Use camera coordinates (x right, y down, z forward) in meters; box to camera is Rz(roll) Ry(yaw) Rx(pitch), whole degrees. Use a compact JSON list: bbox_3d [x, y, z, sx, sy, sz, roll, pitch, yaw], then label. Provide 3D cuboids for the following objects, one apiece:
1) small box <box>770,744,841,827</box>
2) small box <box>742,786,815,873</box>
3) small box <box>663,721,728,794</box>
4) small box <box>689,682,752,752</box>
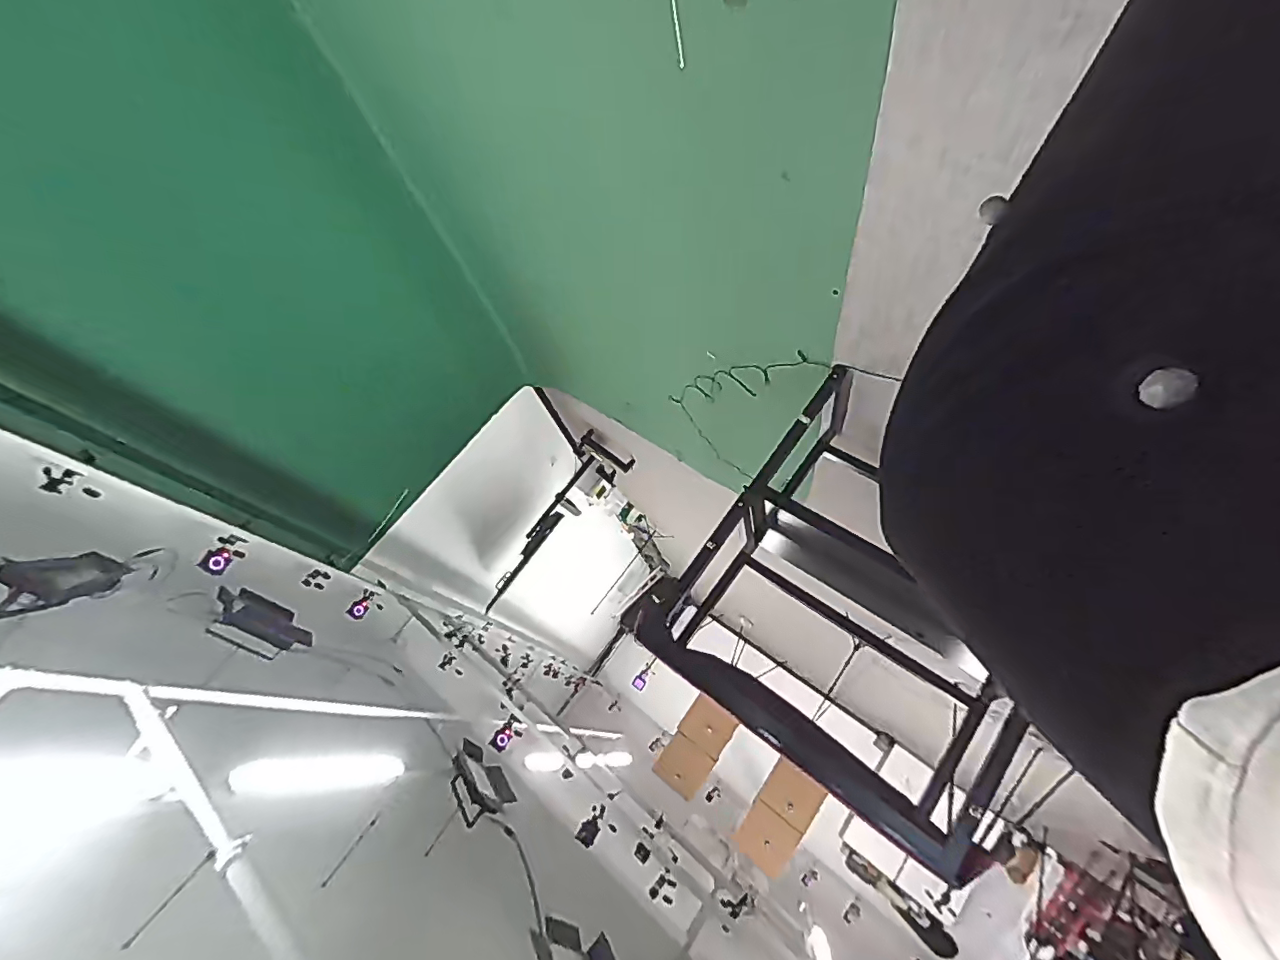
[{"bbox_3d":[0.567,1.042,1.858,0.179,0.176,0.168,33,167,24],"label":"small box"},{"bbox_3d":[0.467,1.168,1.823,0.179,0.176,0.168,32,167,24],"label":"small box"},{"bbox_3d":[0.211,1.008,1.982,0.179,0.176,0.168,34,167,22],"label":"small box"},{"bbox_3d":[0.307,0.879,2.016,0.179,0.176,0.168,32,166,23],"label":"small box"}]
